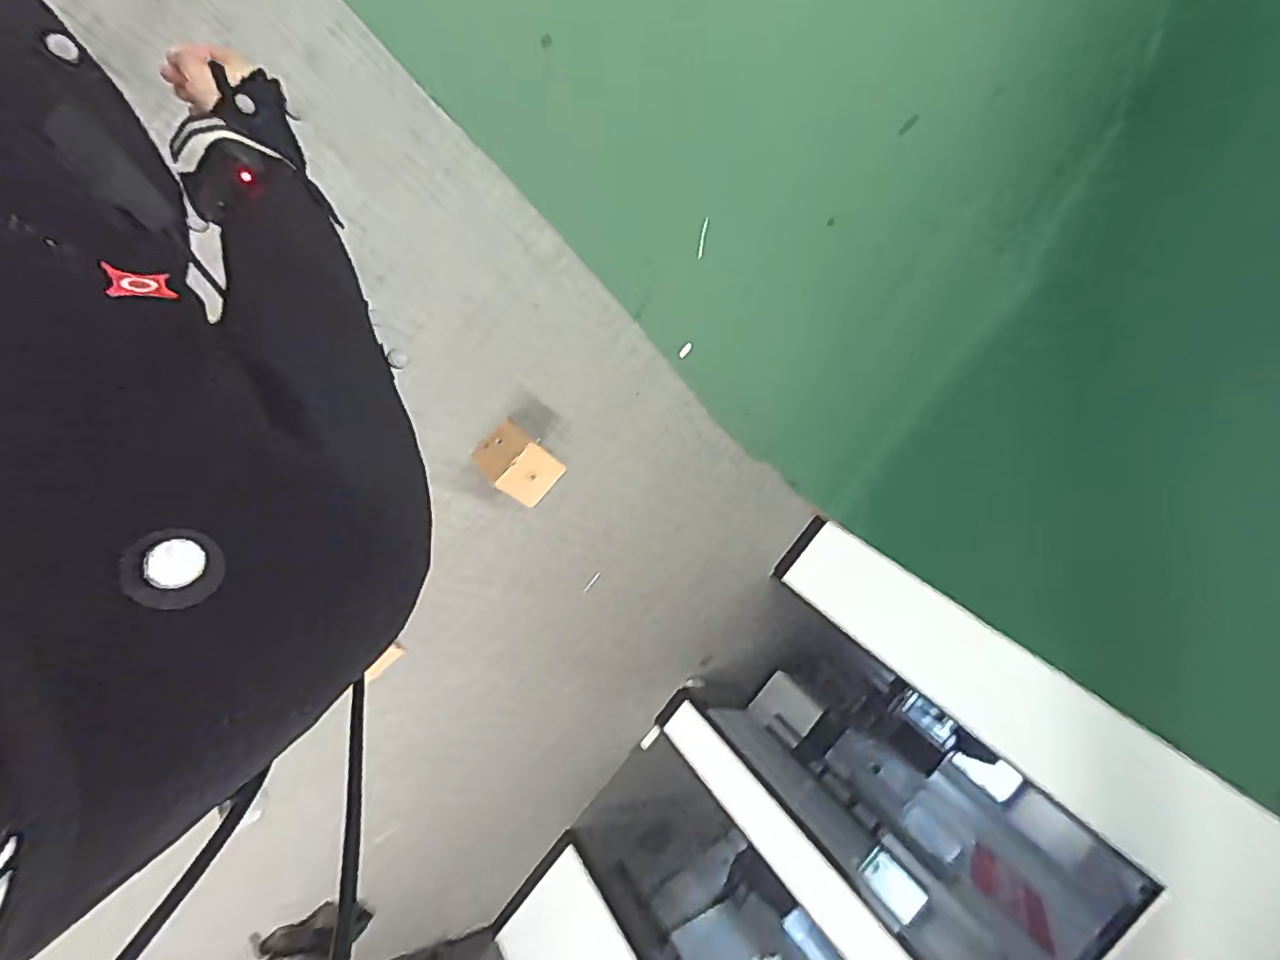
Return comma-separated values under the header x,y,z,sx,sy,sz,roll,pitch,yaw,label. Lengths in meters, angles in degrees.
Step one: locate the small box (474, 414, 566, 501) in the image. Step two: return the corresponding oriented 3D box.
x,y,z,sx,sy,sz,roll,pitch,yaw,label
-0.363,-0.071,1.628,0.168,0.176,0.179,-49,141,0,small box
